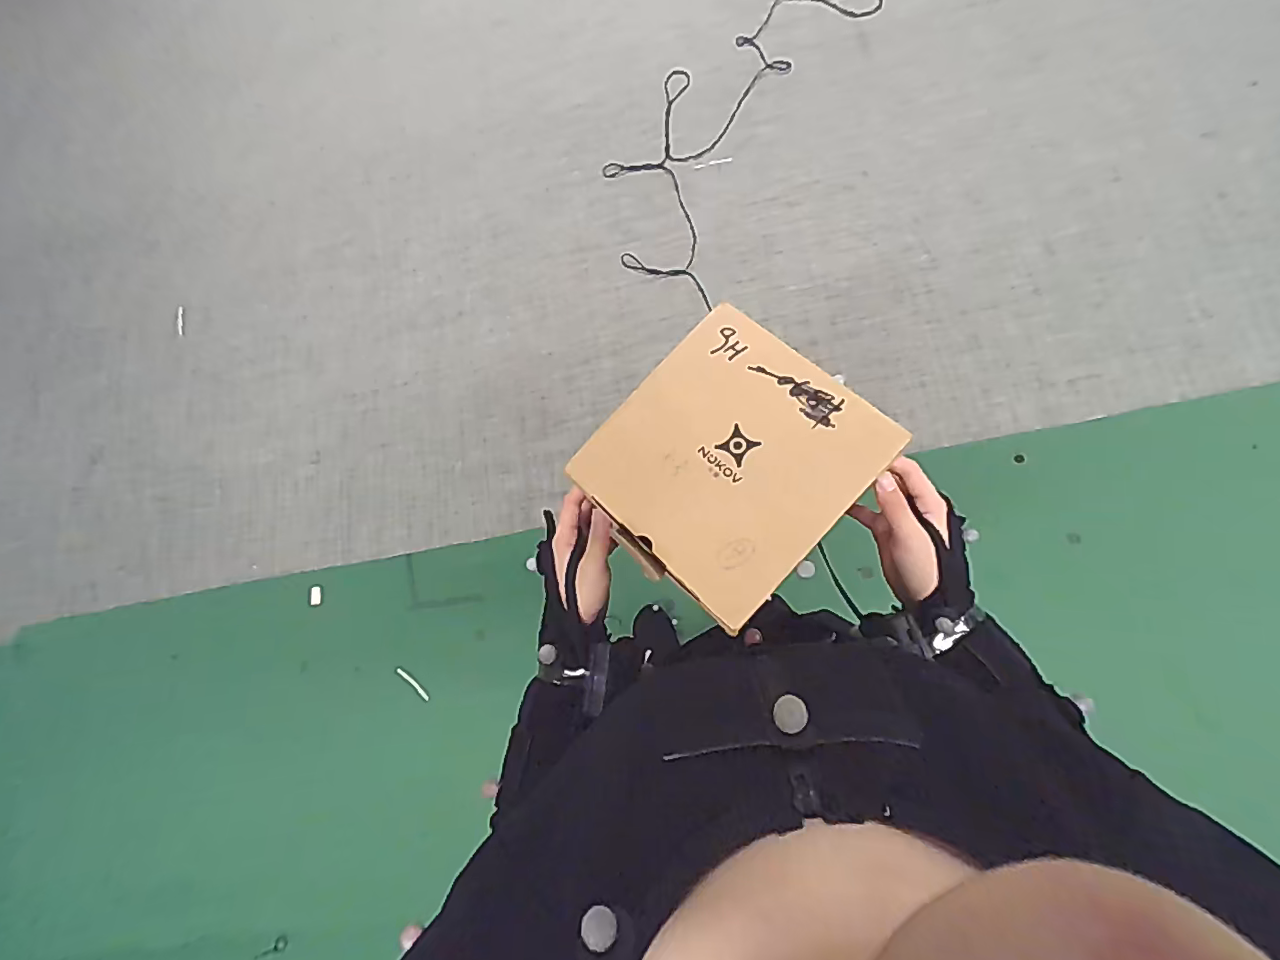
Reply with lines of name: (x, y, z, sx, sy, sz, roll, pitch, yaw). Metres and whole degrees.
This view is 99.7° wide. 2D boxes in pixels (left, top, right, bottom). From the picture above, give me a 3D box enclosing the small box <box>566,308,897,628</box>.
small box: (0.075, 0.003, 0.453, 0.168, 0.176, 0.179, 42, 88, 18)
